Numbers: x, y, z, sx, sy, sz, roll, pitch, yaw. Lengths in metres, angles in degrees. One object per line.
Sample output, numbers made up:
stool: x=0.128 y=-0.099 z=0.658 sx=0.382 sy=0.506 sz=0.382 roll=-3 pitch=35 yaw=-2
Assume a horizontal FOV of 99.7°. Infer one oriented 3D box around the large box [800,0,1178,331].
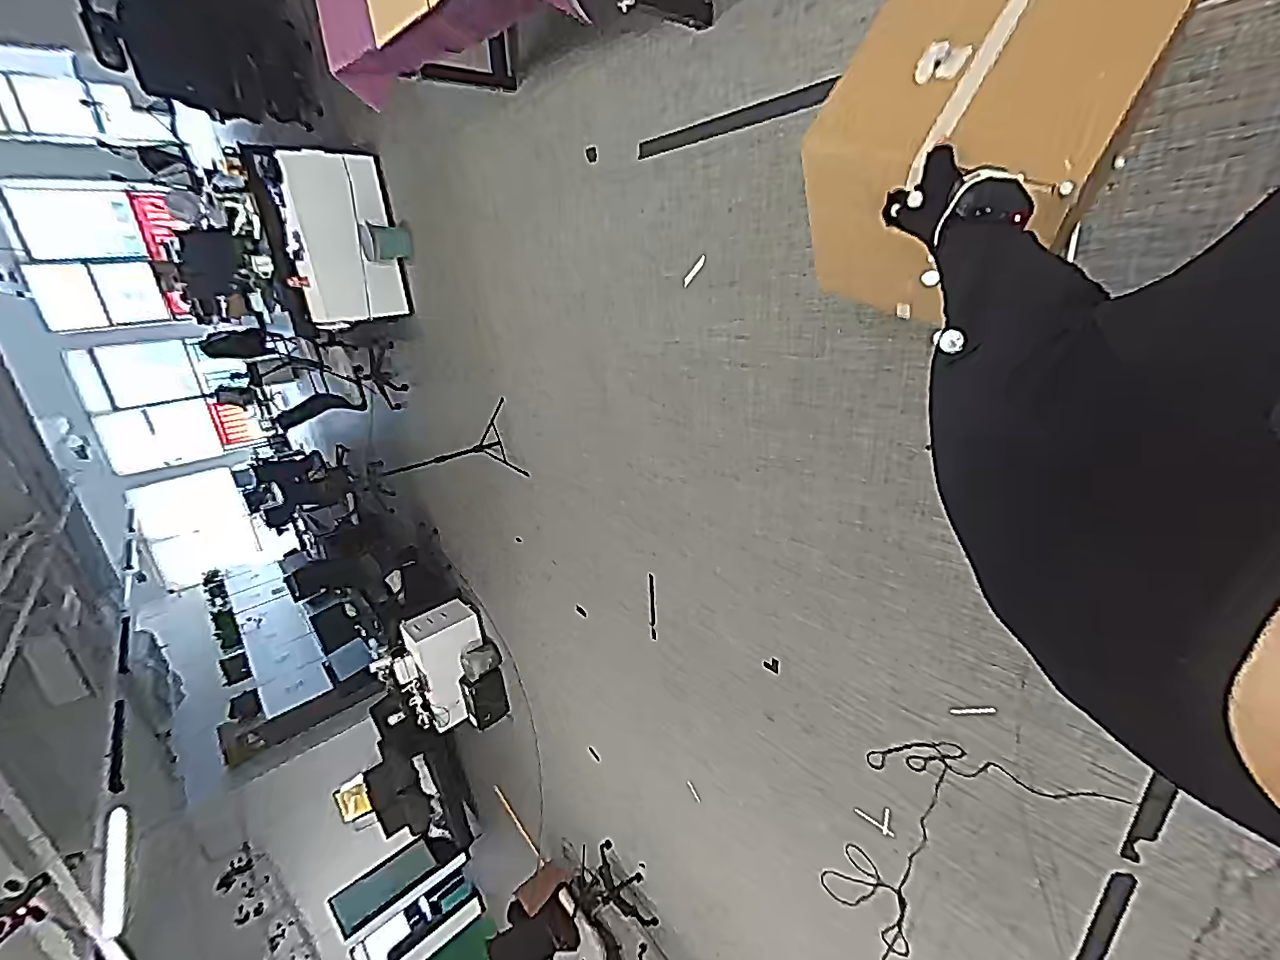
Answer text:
large box: x=0.479 y=-0.498 z=0.774 sx=0.320 sy=0.320 sz=0.408 roll=30 pitch=89 yaw=28
